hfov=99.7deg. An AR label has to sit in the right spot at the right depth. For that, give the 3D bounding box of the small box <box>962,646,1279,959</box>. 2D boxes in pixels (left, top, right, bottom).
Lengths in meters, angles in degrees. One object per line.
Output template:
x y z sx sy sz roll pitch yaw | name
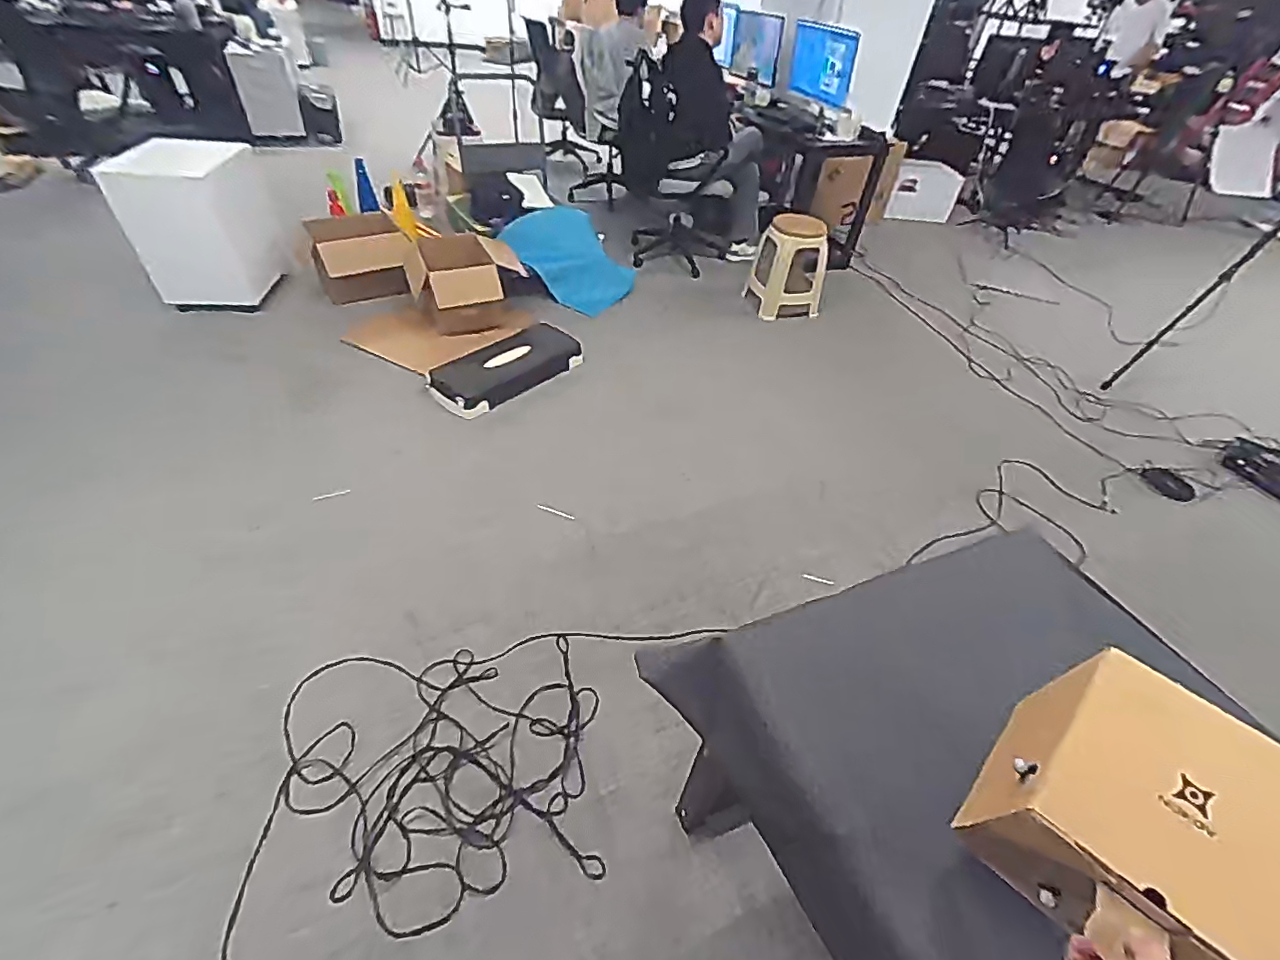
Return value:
0.418 0.285 0.468 0.168 0.176 0.179 36 65 28 | small box
